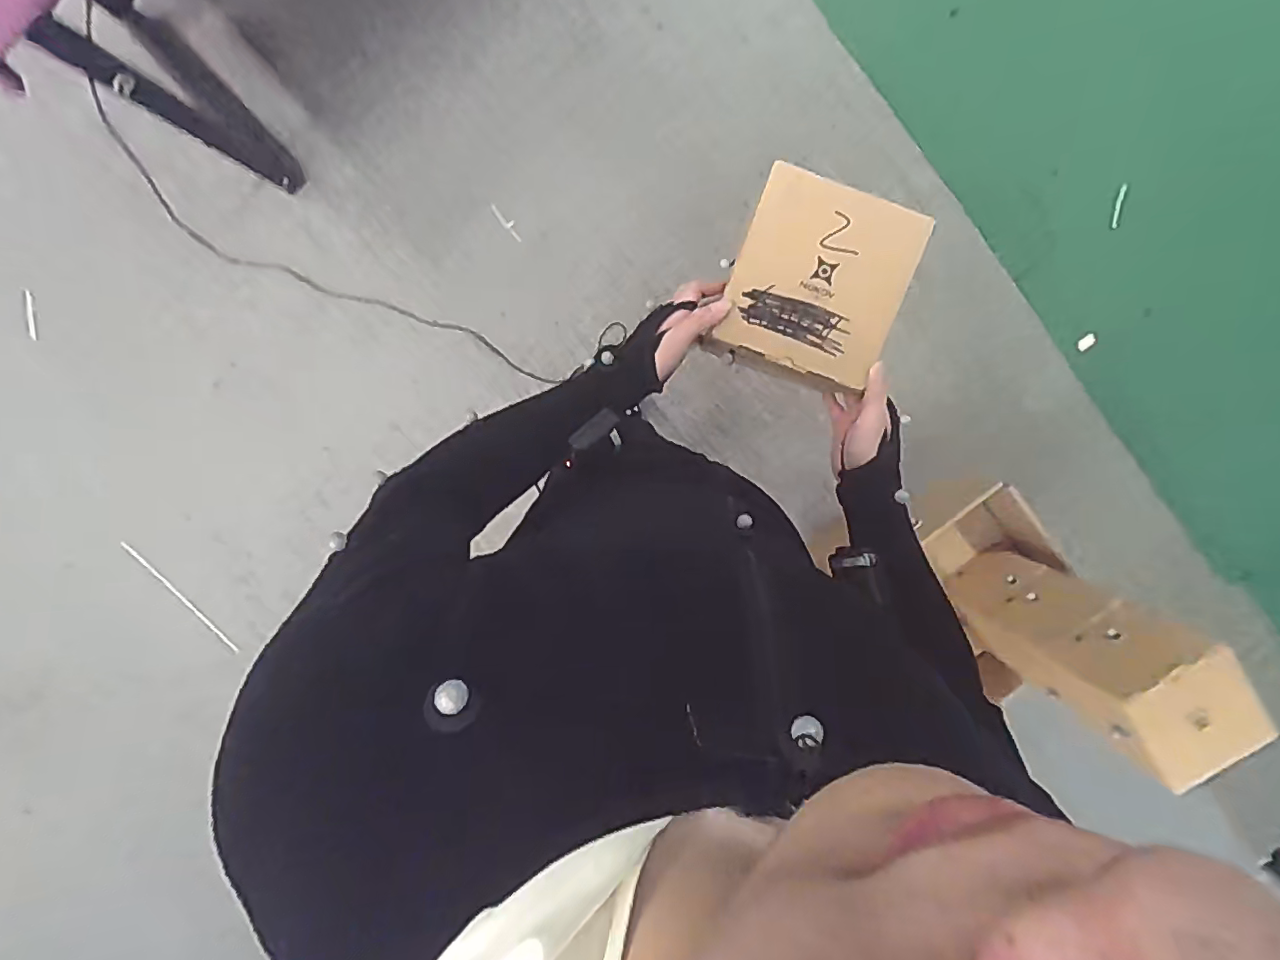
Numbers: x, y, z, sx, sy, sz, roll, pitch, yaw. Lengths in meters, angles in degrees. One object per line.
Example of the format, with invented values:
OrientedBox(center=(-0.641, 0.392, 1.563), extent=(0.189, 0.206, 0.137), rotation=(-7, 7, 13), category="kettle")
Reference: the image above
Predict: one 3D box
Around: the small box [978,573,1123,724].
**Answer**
OrientedBox(center=(0.787, 0.303, 1.009), extent=(0.168, 0.176, 0.179), rotation=(-36, 97, 4), category="small box")

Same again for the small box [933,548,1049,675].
OrientedBox(center=(0.786, 0.276, 1.171), extent=(0.168, 0.176, 0.179), rotation=(-37, 98, 5), category="small box")

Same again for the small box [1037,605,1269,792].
OrientedBox(center=(0.787, 0.330, 0.850), extent=(0.168, 0.176, 0.179), rotation=(-34, 97, 4), category="small box")
